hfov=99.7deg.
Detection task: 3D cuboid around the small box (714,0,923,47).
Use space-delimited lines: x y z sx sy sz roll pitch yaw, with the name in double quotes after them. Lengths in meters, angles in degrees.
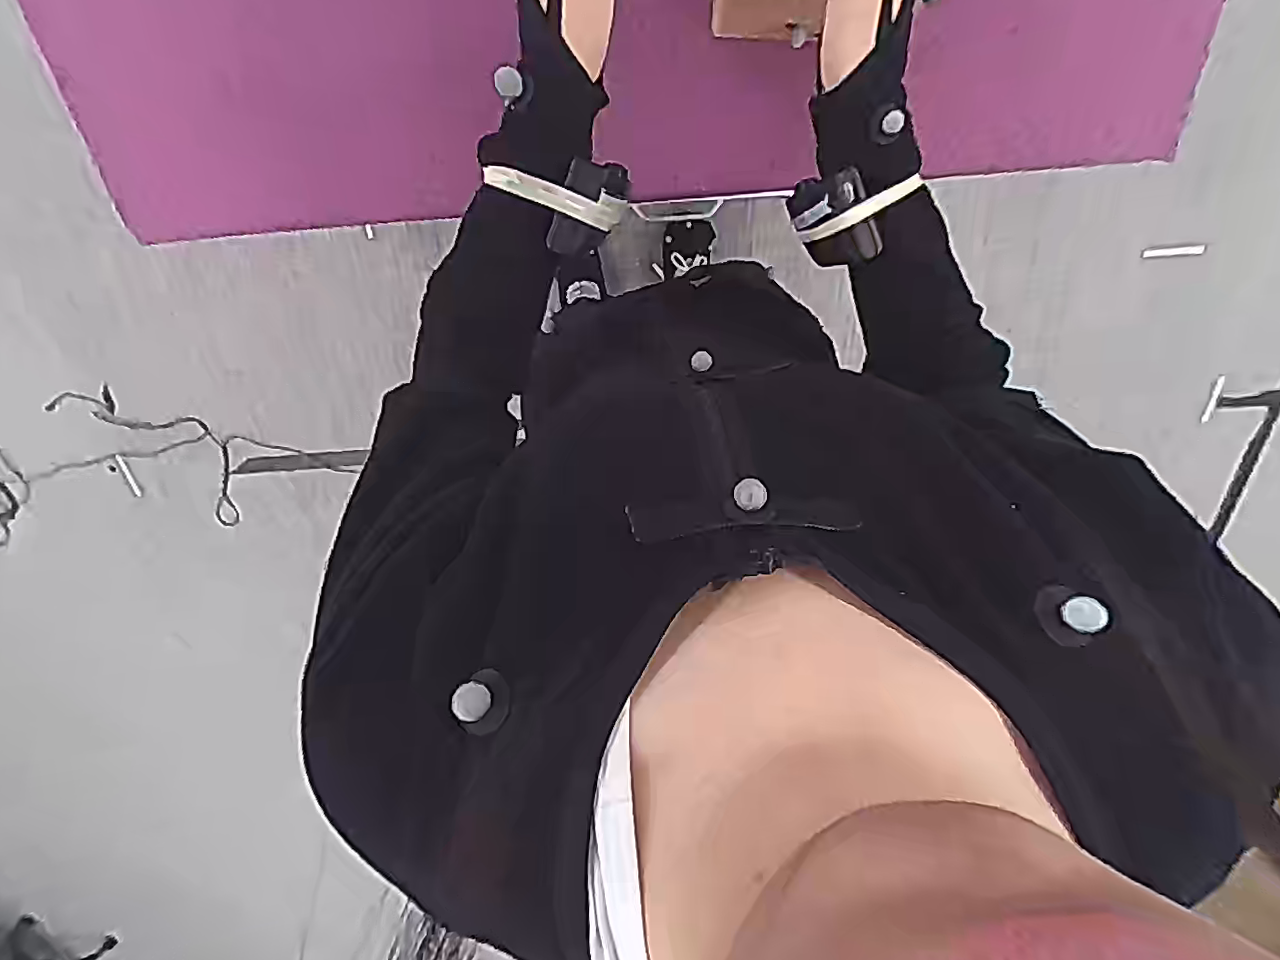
0.160 -0.502 0.455 0.168 0.176 0.179 2 116 -2 "small box"
